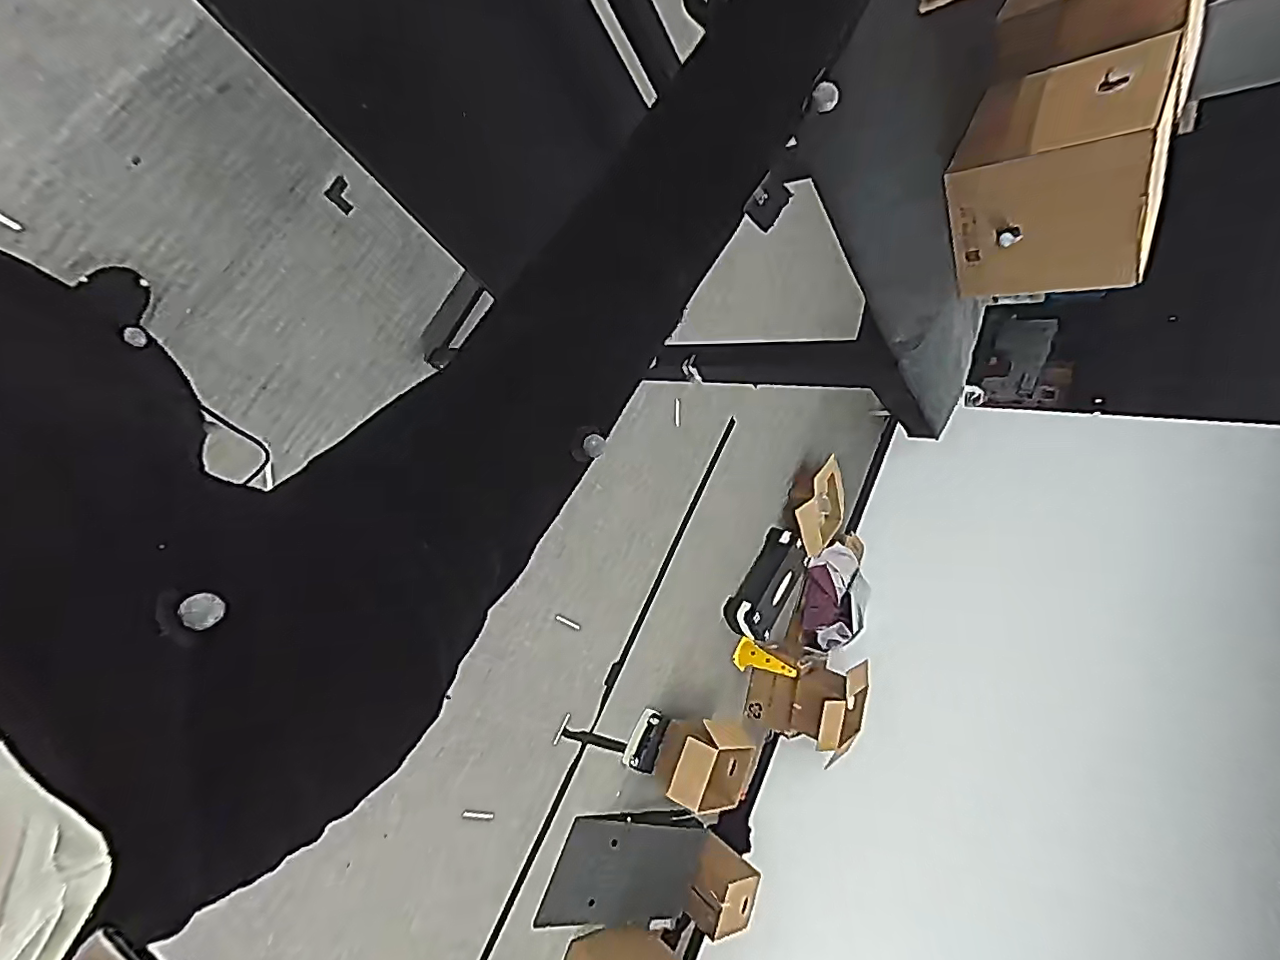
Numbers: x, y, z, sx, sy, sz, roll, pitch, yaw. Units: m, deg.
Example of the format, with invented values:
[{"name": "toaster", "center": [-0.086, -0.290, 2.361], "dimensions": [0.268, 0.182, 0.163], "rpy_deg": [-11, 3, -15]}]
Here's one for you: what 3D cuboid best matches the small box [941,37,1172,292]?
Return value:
[{"name": "small box", "center": [0.456, -0.335, 0.605], "dimensions": [0.179, 0.176, 0.168], "rpy_deg": [-58, 133, -21]}]
